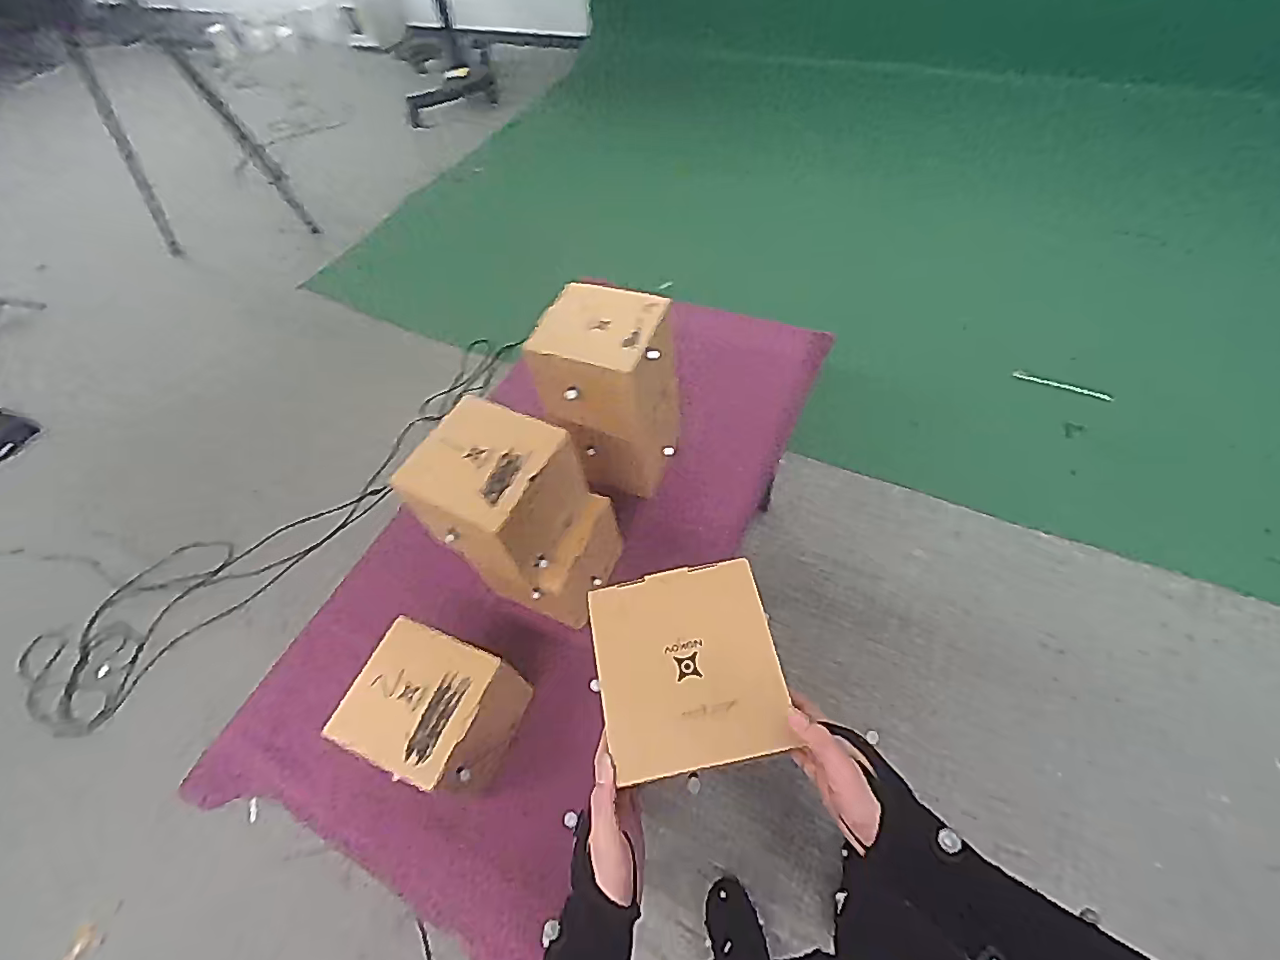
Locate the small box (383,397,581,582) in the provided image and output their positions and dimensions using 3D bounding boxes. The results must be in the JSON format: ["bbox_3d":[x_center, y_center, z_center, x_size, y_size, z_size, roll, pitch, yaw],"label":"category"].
[{"bbox_3d":[-0.203,0.020,0.751,0.179,0.176,0.168,21,60,20],"label":"small box"}]

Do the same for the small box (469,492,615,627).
[{"bbox_3d":[-0.157,0.116,0.880,0.179,0.176,0.168,18,59,17],"label":"small box"}]

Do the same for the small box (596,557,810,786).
[{"bbox_3d":[0.056,0.203,0.557,0.168,0.176,0.179,-11,60,1],"label":"small box"}]

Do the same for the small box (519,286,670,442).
[{"bbox_3d":[-0.061,-0.182,0.871,0.179,0.176,0.168,15,60,17],"label":"small box"}]

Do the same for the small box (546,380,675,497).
[{"bbox_3d":[-0.045,-0.090,1.005,0.179,0.176,0.168,16,59,17],"label":"small box"}]
